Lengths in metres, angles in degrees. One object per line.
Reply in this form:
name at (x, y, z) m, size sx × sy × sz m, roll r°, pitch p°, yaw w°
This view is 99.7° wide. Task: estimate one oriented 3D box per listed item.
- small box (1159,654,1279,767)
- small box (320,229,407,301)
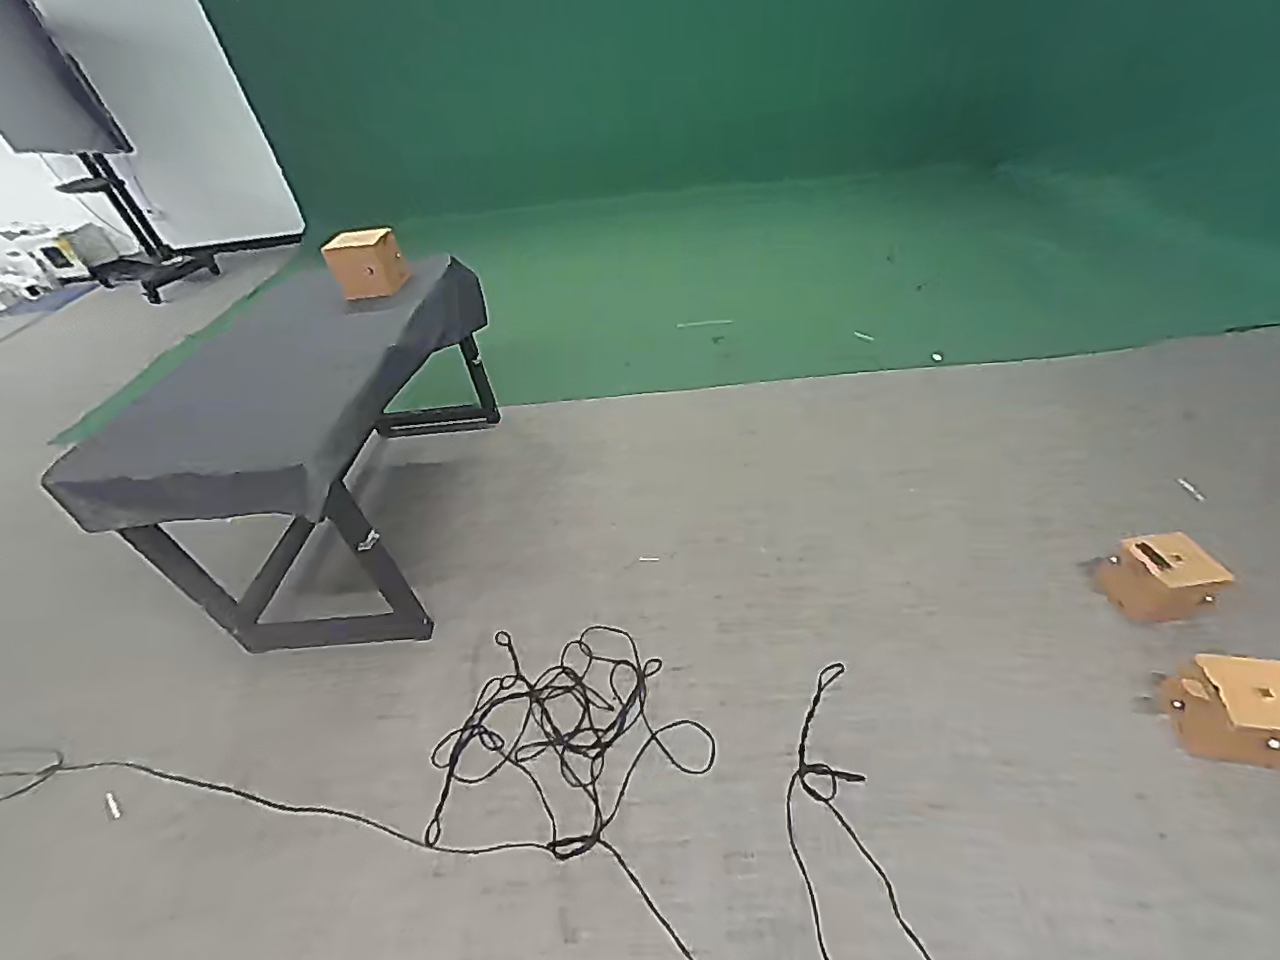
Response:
small box at (1.310, 0.506, 1.180) m, size 0.179 × 0.176 × 0.168 m, roll 2°, pitch 43°, yaw 12°
small box at (-0.905, -0.713, 1.795) m, size 0.179 × 0.176 × 0.168 m, roll -5°, pitch 40°, yaw 5°
